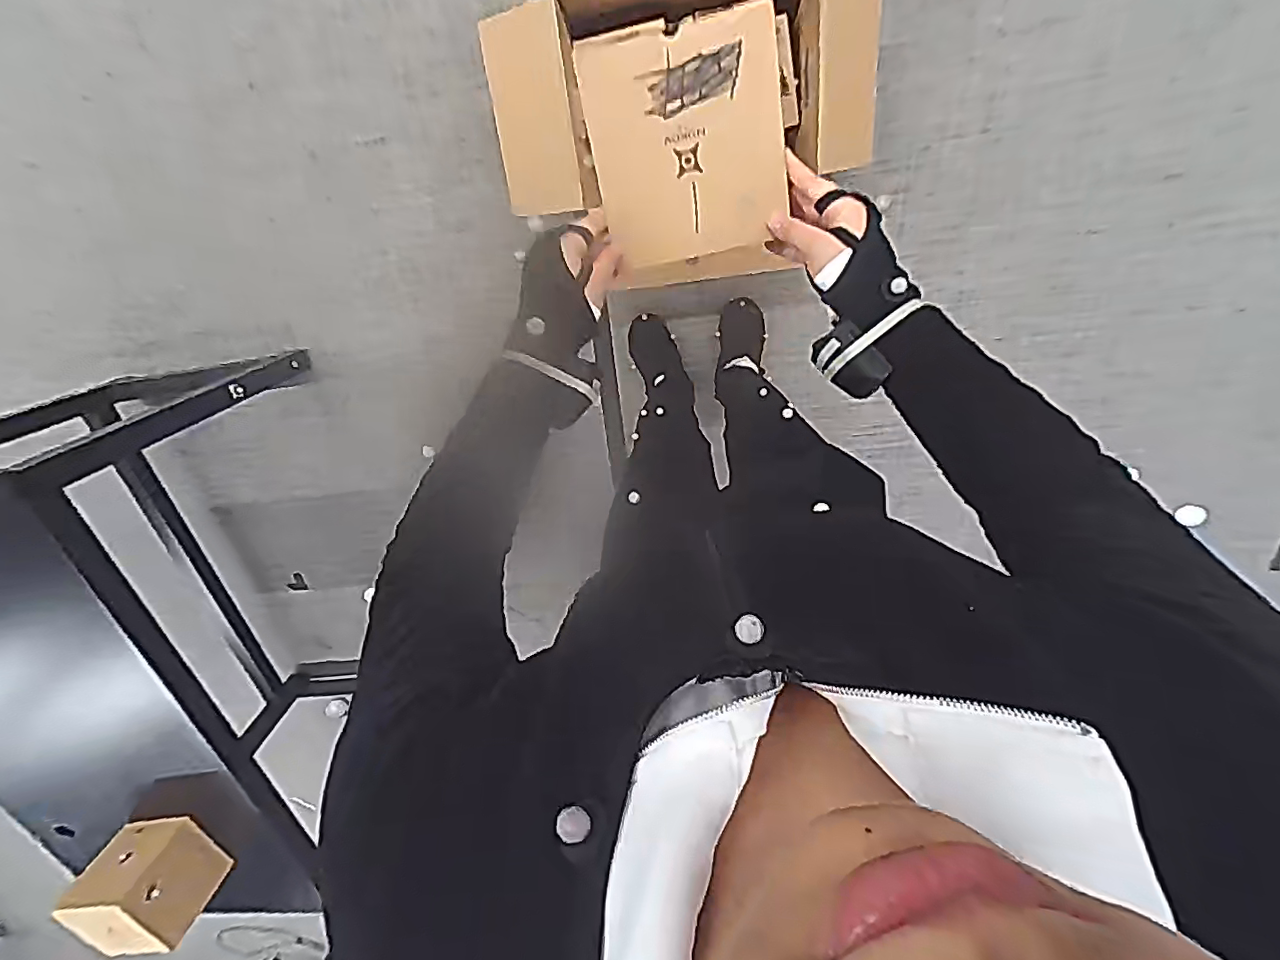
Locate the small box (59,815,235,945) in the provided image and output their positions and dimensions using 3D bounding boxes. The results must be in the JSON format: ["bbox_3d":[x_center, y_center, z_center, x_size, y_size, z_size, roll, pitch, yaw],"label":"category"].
[{"bbox_3d":[-1.023,0.835,1.140,0.168,0.176,0.179,-12,117,10],"label":"small box"}]

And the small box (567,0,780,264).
[{"bbox_3d":[0.036,-0.330,0.541,0.168,0.176,0.179,-10,117,7],"label":"small box"}]
